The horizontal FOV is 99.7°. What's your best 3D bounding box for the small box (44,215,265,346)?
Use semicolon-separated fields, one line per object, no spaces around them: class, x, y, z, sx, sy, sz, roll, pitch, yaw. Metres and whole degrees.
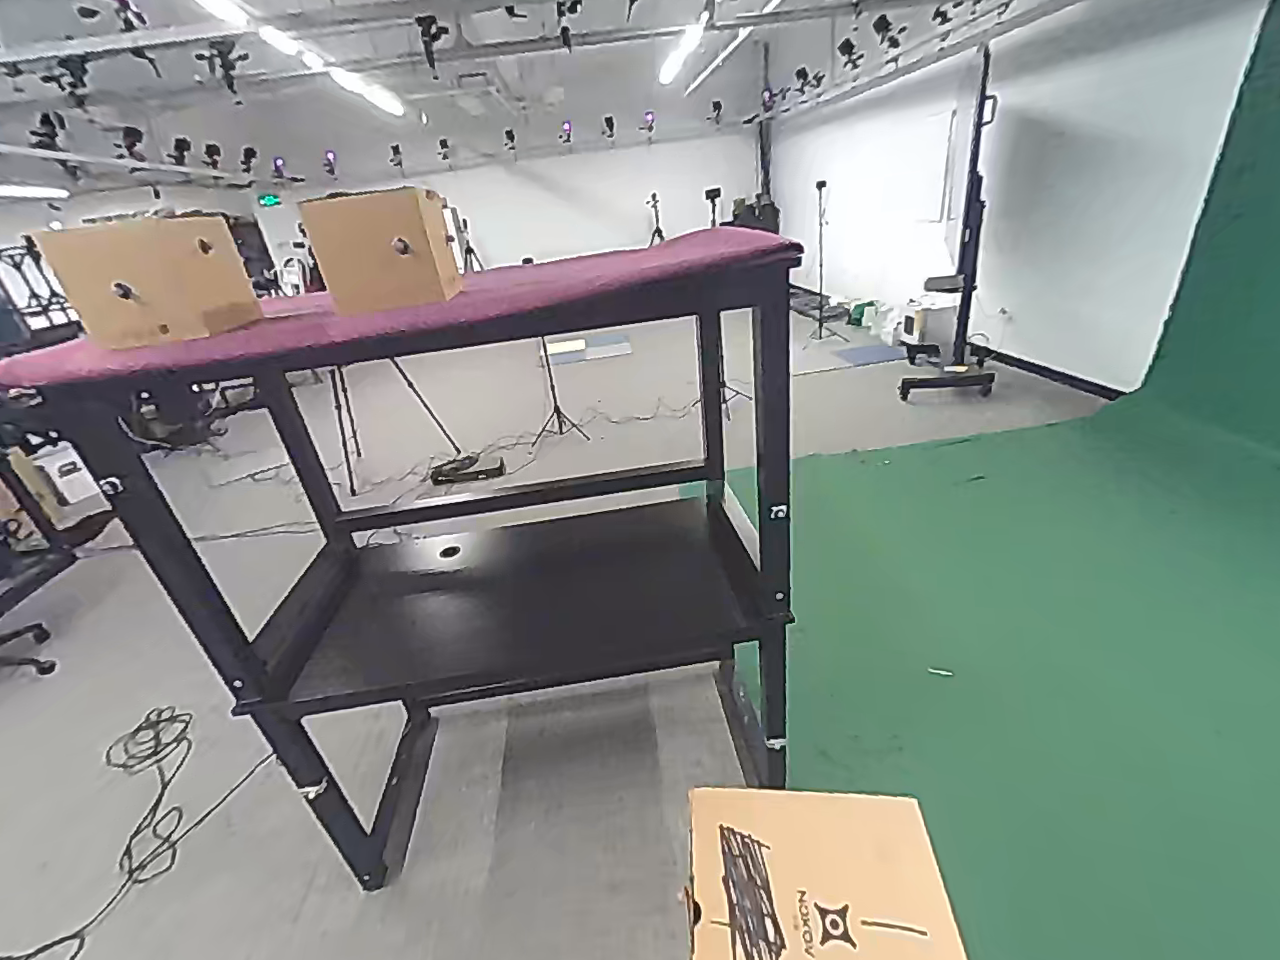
small box;-0.741;-0.315;0.856;0.168;0.176;0.179;-8;27;-5

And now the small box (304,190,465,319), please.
small box;-0.406;-0.376;0.900;0.179;0.176;0.168;-10;26;-3

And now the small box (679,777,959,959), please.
small box;0.121;0.353;0.409;0.179;0.176;0.168;0;36;6
